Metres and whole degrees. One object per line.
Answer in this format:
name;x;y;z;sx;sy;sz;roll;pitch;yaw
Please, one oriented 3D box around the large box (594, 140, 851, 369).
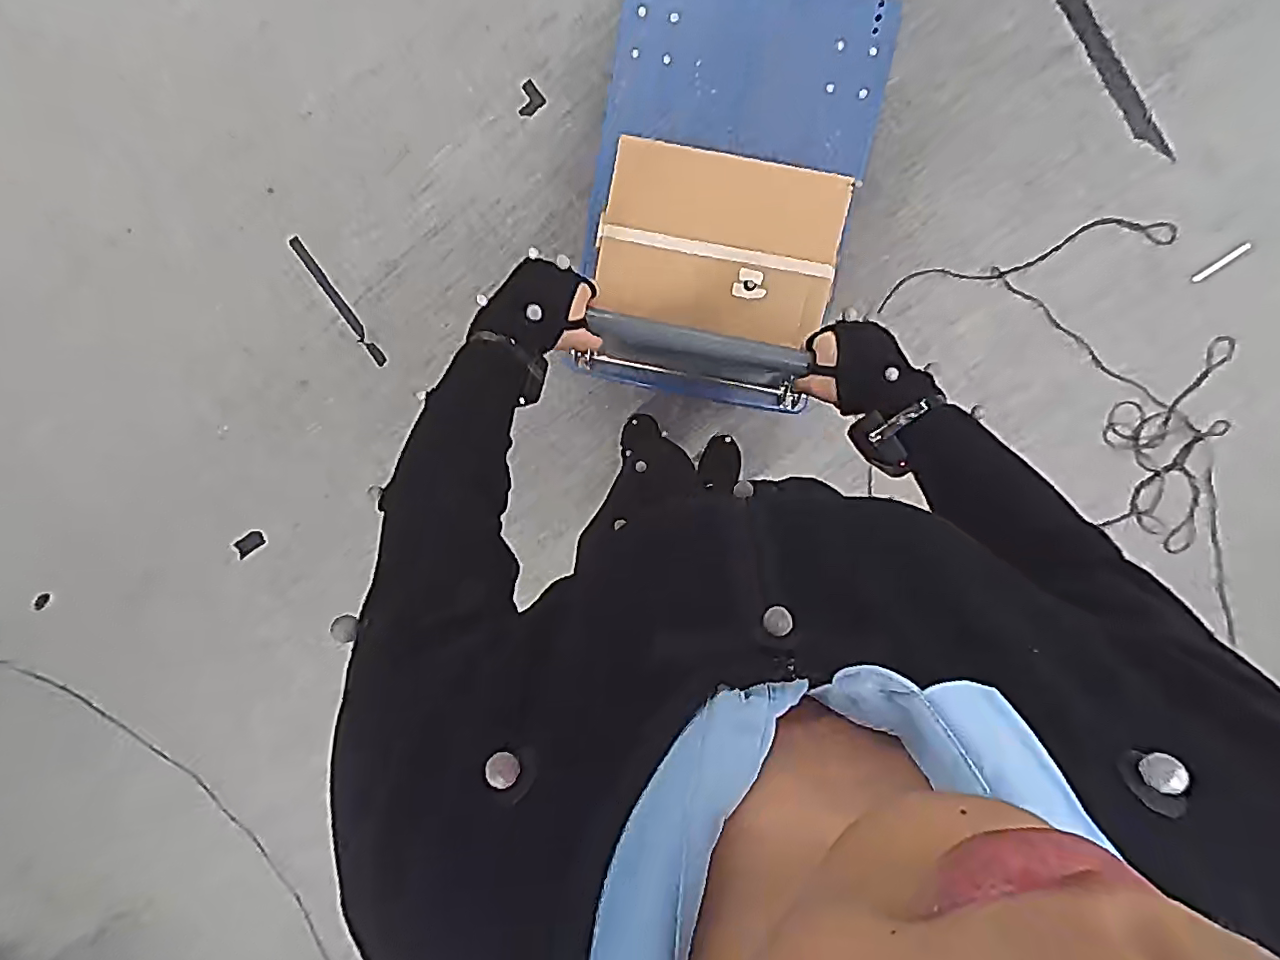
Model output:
large box;0.140;-0.417;1.085;0.408;0.320;0.320;11;100;0
